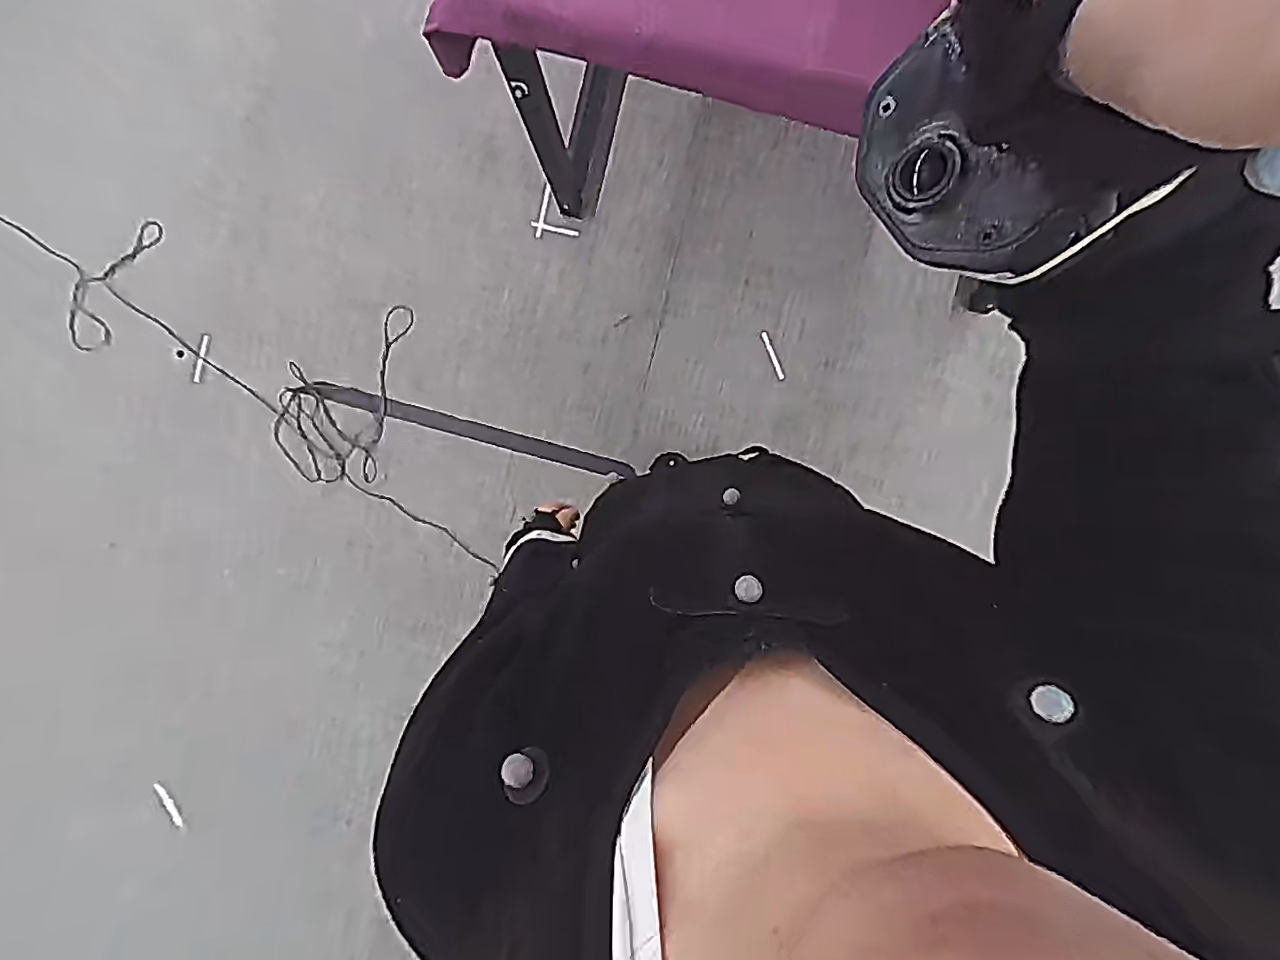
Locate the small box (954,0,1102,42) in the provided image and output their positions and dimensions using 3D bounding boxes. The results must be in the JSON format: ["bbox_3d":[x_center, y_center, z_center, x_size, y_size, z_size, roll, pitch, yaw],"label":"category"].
[{"bbox_3d":[0.517,-0.689,0.655,0.168,0.176,0.179,15,92,2],"label":"small box"}]
